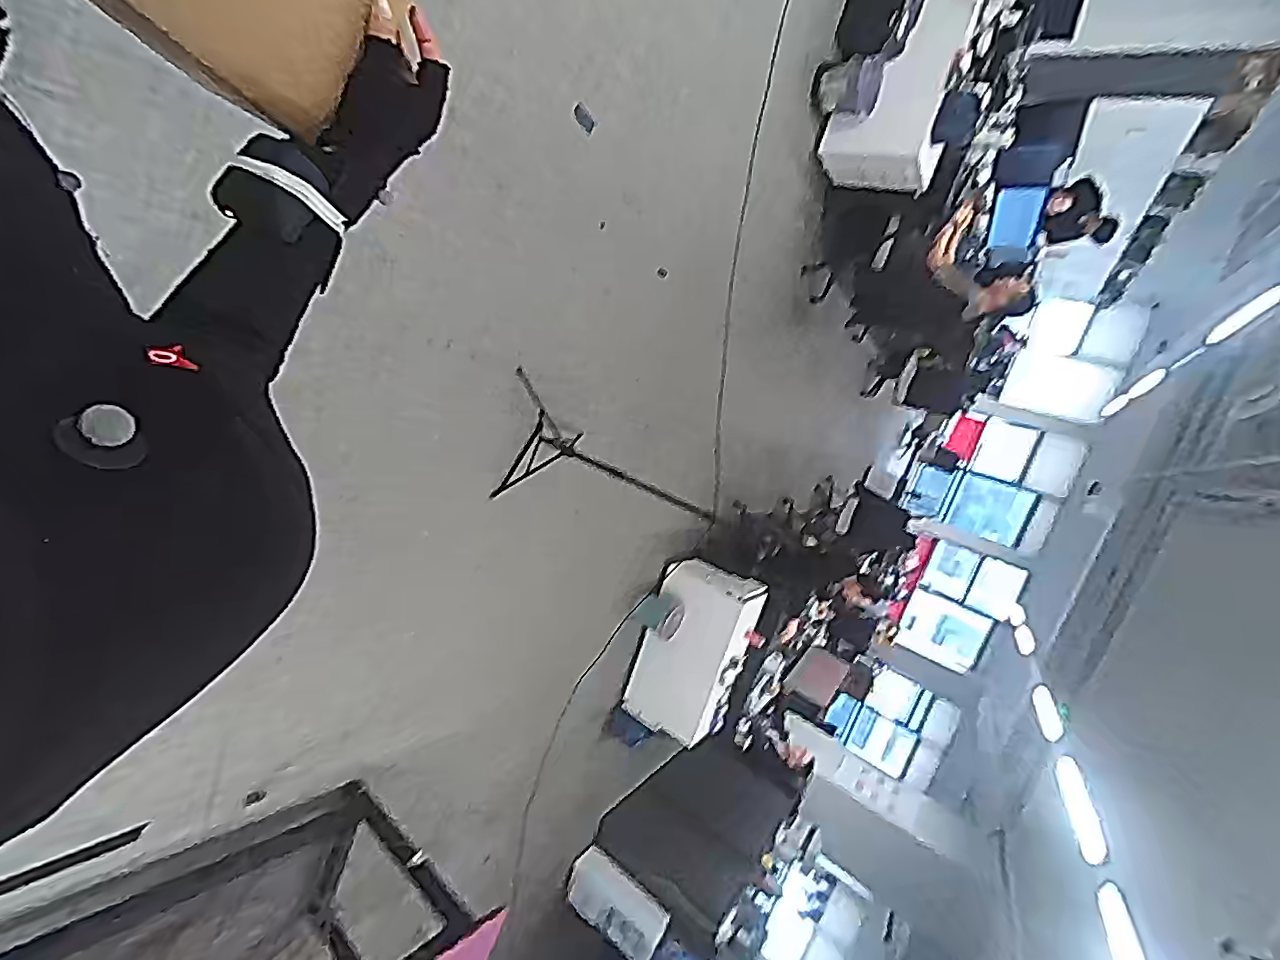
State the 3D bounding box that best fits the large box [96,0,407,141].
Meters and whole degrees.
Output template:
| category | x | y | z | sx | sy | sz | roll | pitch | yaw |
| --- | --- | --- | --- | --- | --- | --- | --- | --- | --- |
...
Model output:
| category | x | y | z | sx | sy | sz | roll | pitch | yaw |
| --- | --- | --- | --- | --- | --- | --- | --- | --- | --- |
| large box | -0.378 | -0.531 | 0.350 | 0.320 | 0.320 | 0.408 | -54 | 150 | 4 |
